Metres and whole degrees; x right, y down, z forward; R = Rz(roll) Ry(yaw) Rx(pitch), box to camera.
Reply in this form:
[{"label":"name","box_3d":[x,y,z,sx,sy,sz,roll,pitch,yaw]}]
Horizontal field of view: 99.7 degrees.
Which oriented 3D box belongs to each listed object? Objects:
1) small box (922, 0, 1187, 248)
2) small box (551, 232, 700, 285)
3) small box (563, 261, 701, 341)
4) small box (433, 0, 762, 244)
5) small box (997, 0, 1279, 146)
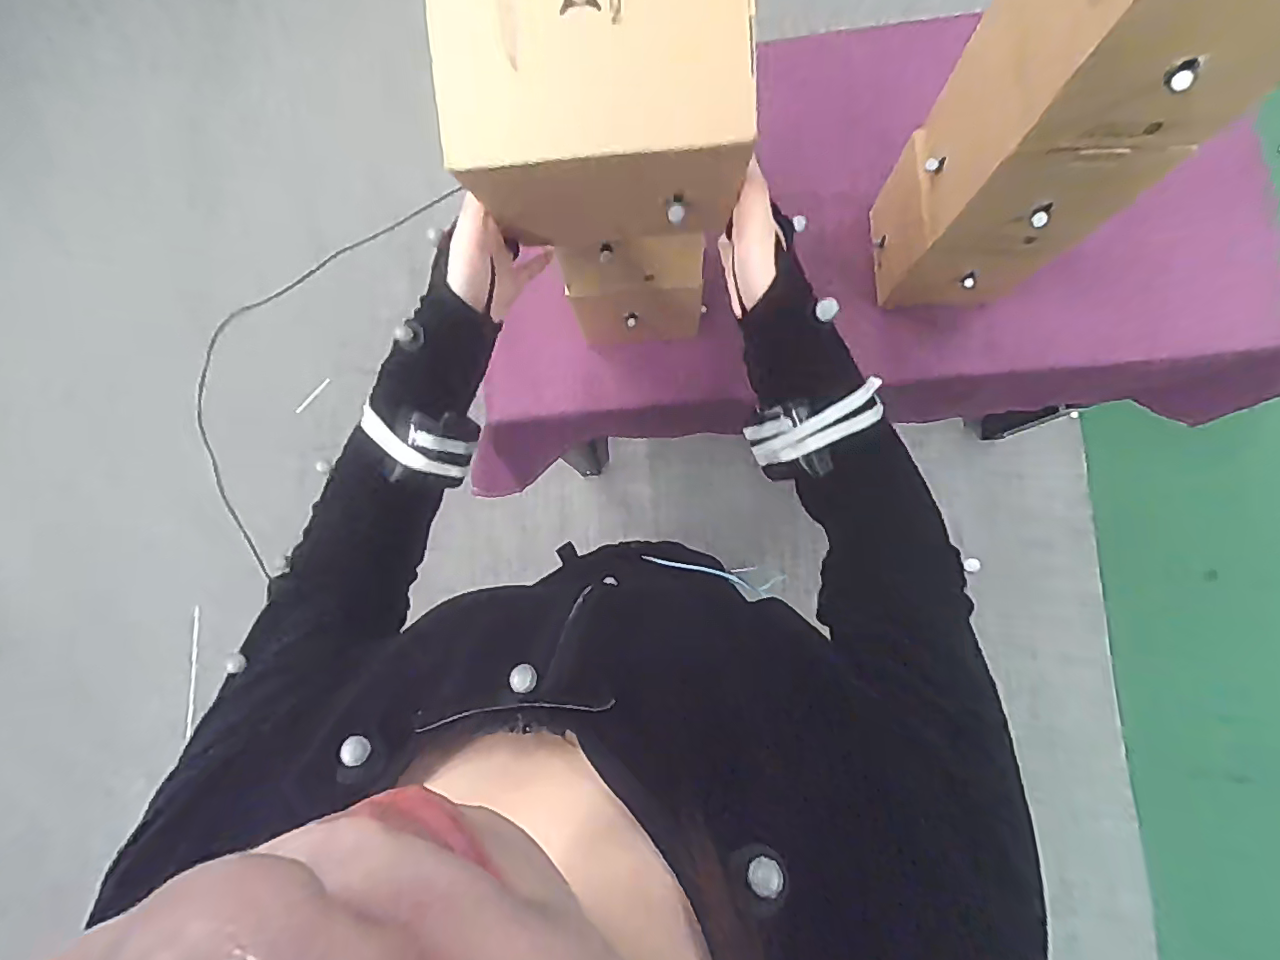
[{"label":"small box","box_3d":[0.425,-0.372,0.586,0.168,0.176,0.179,2,83,4]},{"label":"small box","box_3d":[-0.016,-0.334,0.609,0.168,0.176,0.179,-2,81,3]},{"label":"small box","box_3d":[-0.009,-0.310,0.769,0.179,0.176,0.168,-3,82,4]},{"label":"small box","box_3d":[-0.021,-0.267,0.363,0.179,0.176,0.168,-2,100,3]},{"label":"small box","box_3d":[0.413,-0.392,0.422,0.168,0.176,0.179,0,82,4]}]
